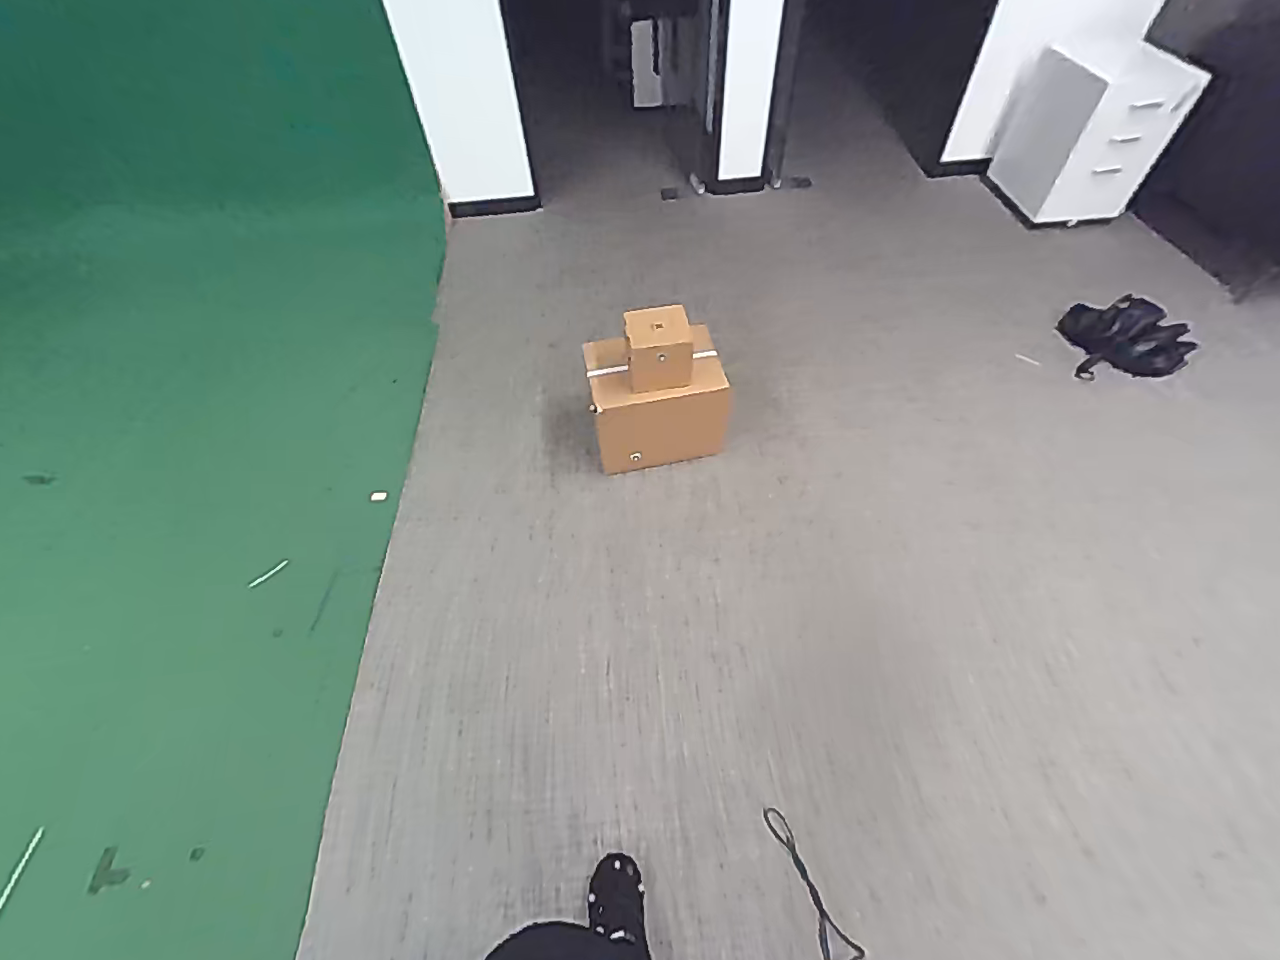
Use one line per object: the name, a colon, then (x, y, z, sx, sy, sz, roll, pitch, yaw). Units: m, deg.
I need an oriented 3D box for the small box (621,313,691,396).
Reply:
small box: (0.046, -0.362, 1.585, 0.179, 0.176, 0.168, -9, 54, -5)
